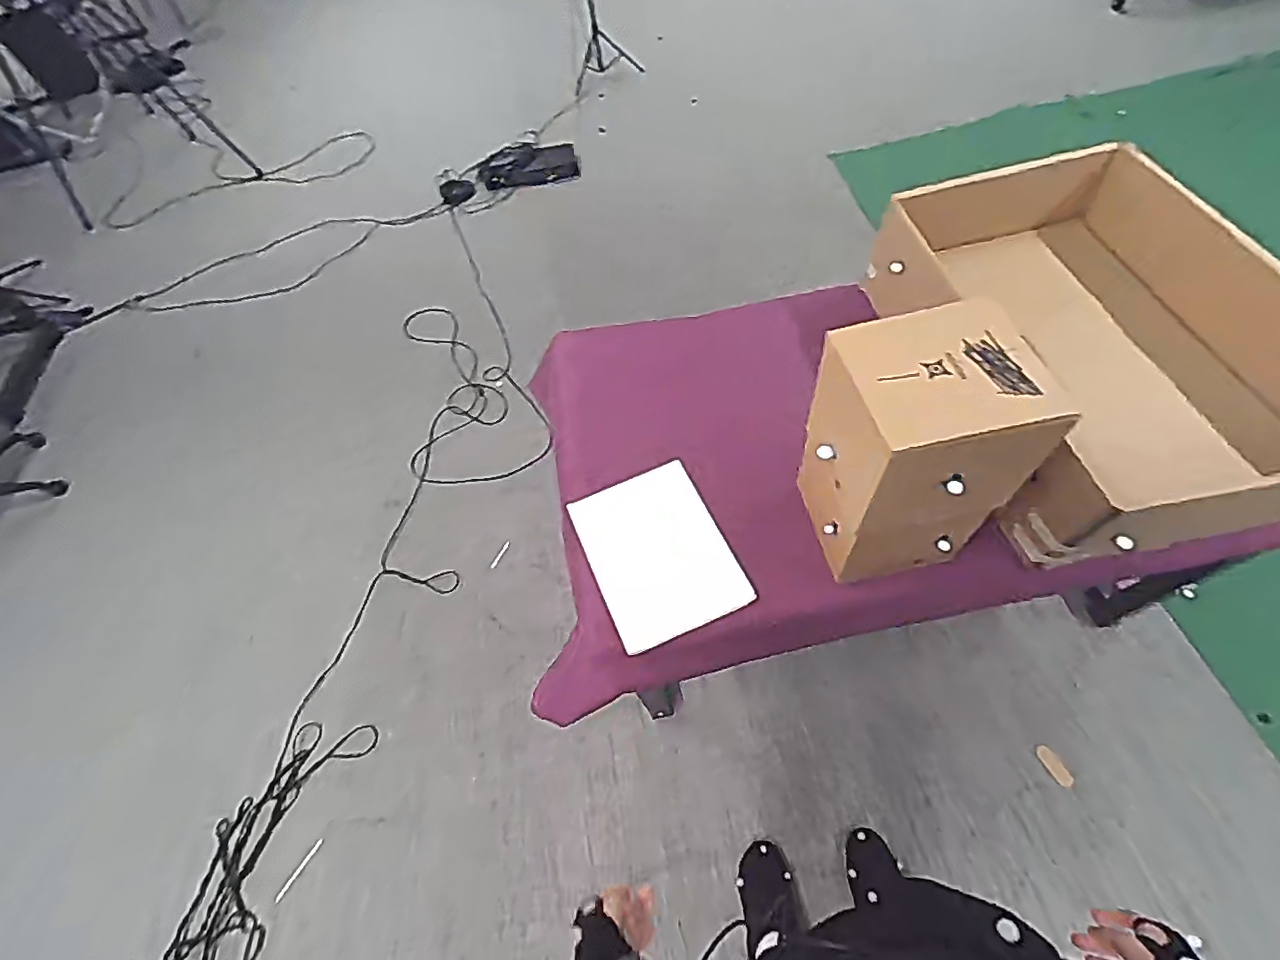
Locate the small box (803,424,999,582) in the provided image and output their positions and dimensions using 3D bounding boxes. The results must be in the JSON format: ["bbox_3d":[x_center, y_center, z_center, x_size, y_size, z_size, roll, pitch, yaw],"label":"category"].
[{"bbox_3d":[0.332,0.025,0.732,0.168,0.176,0.179,-11,55,1],"label":"small box"}]

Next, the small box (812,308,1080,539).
[{"bbox_3d":[0.306,-0.054,0.591,0.179,0.176,0.168,-11,55,1],"label":"small box"}]
